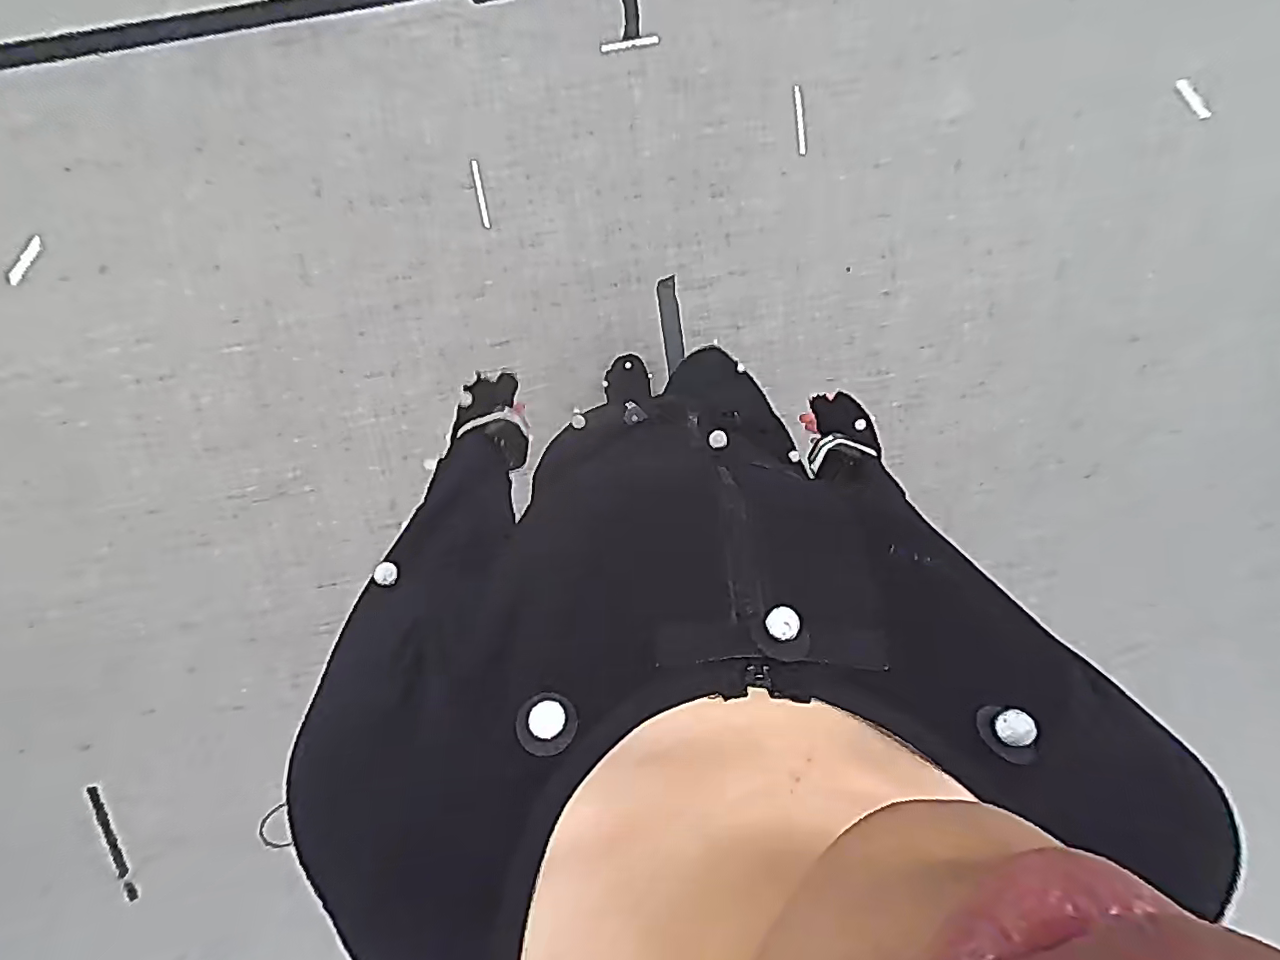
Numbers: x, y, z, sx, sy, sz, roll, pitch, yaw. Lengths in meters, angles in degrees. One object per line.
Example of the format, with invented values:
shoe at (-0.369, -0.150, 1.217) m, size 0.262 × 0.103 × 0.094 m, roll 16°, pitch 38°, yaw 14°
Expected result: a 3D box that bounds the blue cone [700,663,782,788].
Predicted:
blue cone at (0.294, 0.680, 1.455) m, size 0.192 × 0.380 × 0.193 m, roll -14°, pitch 102°, yaw -2°
